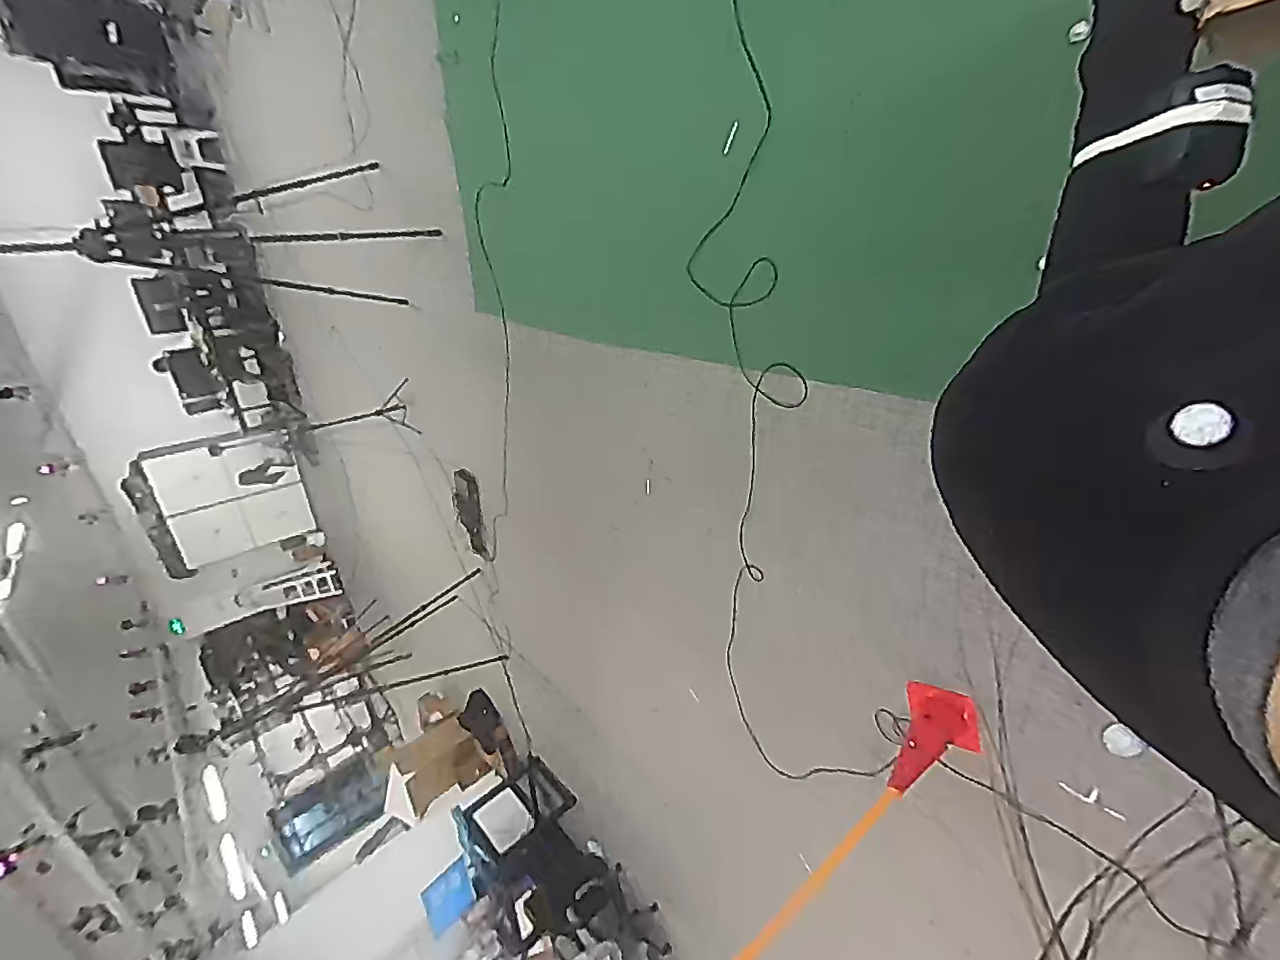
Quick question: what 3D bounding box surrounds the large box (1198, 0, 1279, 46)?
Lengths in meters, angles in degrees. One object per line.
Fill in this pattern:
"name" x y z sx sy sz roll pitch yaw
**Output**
"large box" 0.565 -0.469 0.238 0.408 0.320 0.320 11 120 46
